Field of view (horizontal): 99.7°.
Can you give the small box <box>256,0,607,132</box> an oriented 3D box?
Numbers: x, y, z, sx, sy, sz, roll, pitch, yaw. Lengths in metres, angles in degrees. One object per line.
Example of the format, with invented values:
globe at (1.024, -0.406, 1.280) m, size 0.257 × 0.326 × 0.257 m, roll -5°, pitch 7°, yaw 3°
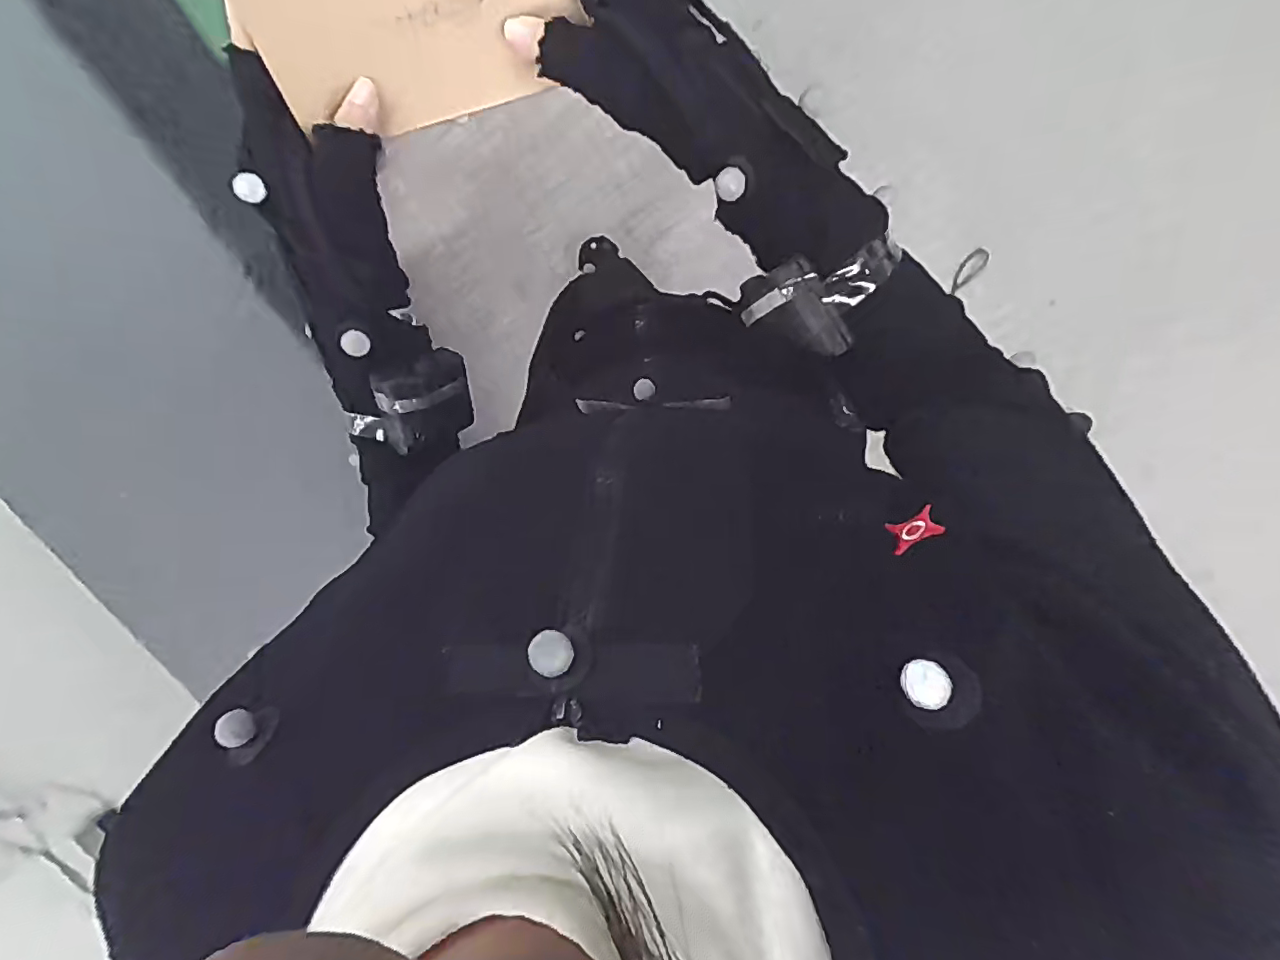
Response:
small box at (-0.128, -0.324, 0.300) m, size 0.168 × 0.176 × 0.179 m, roll -16°, pitch 133°, yaw 0°
